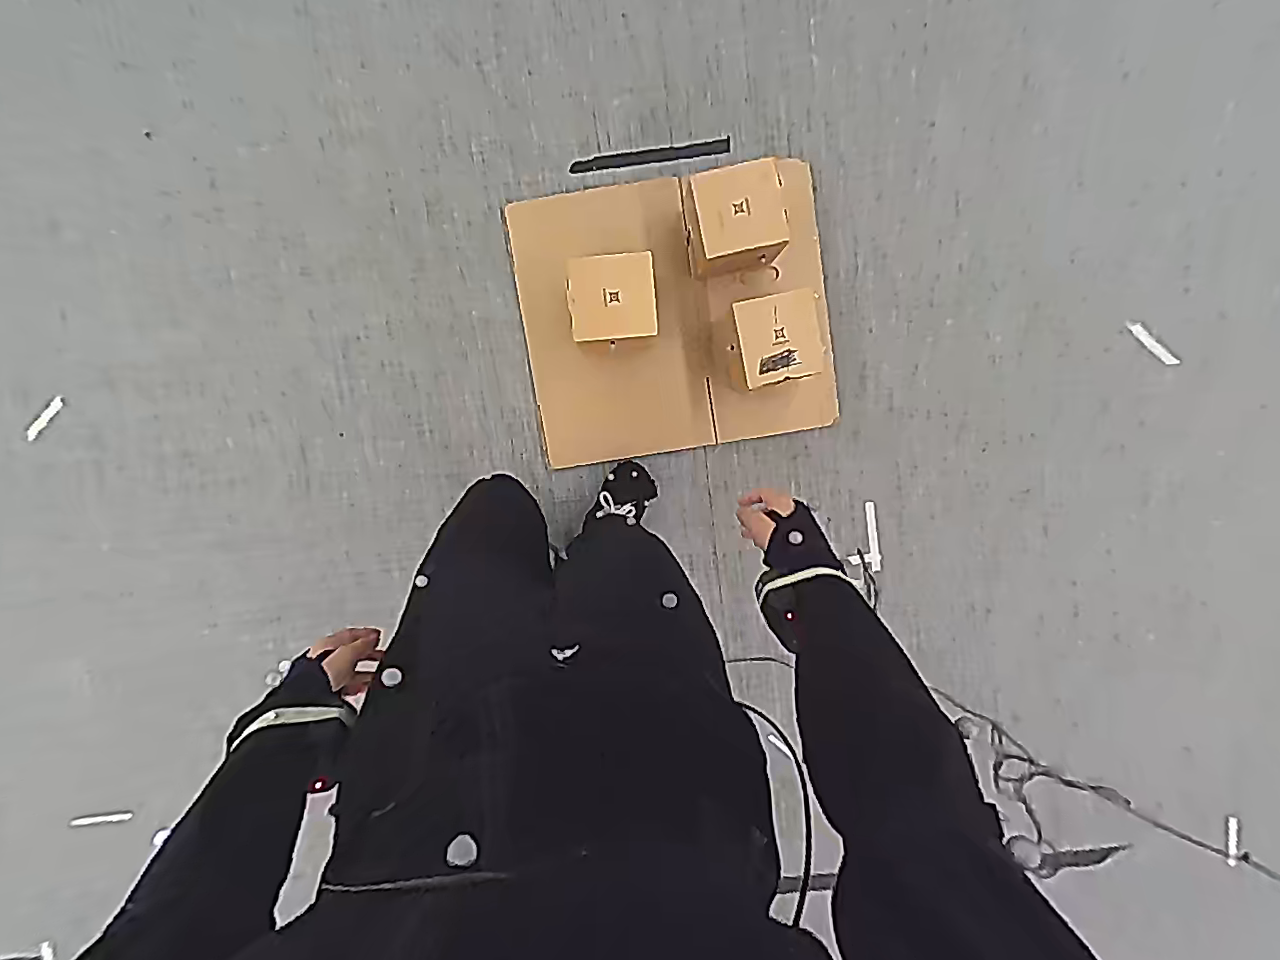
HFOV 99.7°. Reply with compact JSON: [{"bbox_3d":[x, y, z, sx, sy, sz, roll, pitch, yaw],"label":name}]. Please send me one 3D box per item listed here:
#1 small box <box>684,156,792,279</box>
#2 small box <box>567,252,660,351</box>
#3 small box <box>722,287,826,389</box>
[{"bbox_3d":[0.200,-0.543,1.142,0.179,0.176,0.168,-14,95,2],"label":"small box"},{"bbox_3d":[-0.053,-0.374,1.156,0.179,0.176,0.168,-5,97,1],"label":"small box"},{"bbox_3d":[0.283,-0.297,1.168,0.168,0.176,0.179,-12,96,1],"label":"small box"}]
